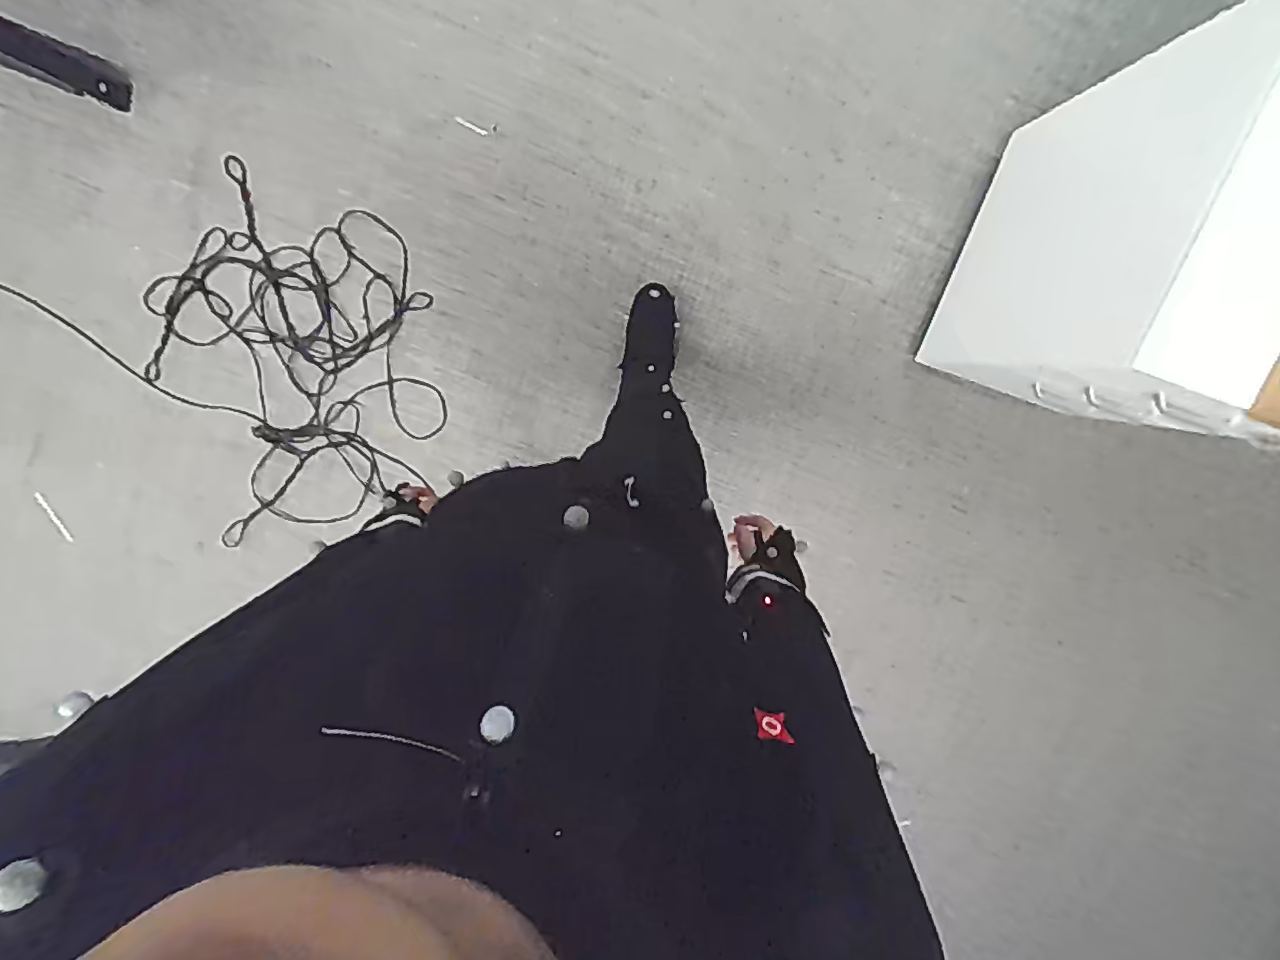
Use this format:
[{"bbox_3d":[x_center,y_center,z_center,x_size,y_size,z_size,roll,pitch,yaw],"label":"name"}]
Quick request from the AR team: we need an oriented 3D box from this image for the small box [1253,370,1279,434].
[{"bbox_3d":[0.931,-0.111,0.650,0.179,0.176,0.168,18,102,-6],"label":"small box"}]
